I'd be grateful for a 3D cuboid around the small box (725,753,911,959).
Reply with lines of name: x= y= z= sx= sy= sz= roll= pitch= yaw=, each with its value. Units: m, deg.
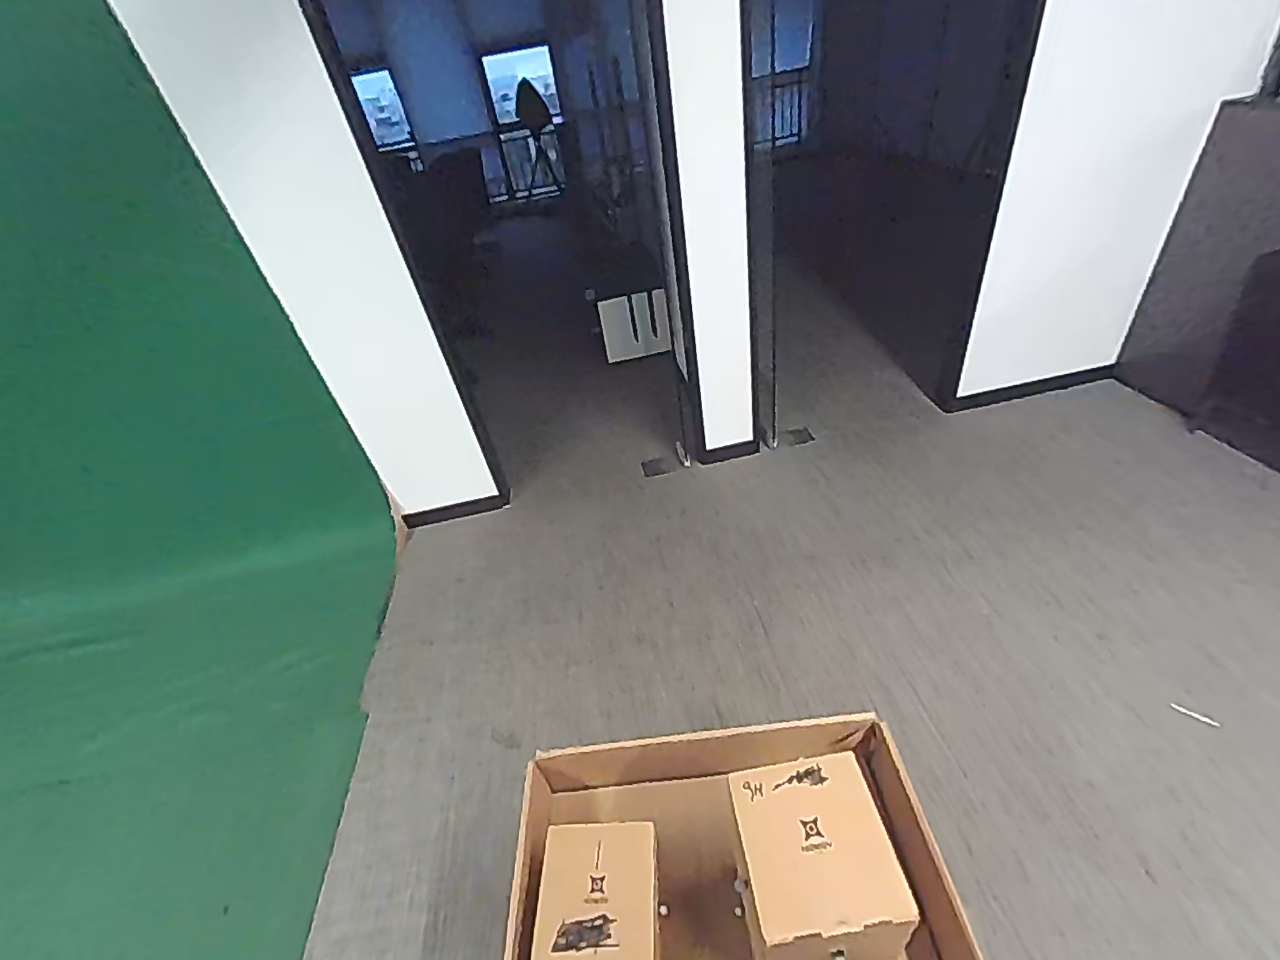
small box: x=0.209 y=0.477 z=0.677 sx=0.168 sy=0.176 sz=0.179 roll=-10 pitch=38 yaw=1
